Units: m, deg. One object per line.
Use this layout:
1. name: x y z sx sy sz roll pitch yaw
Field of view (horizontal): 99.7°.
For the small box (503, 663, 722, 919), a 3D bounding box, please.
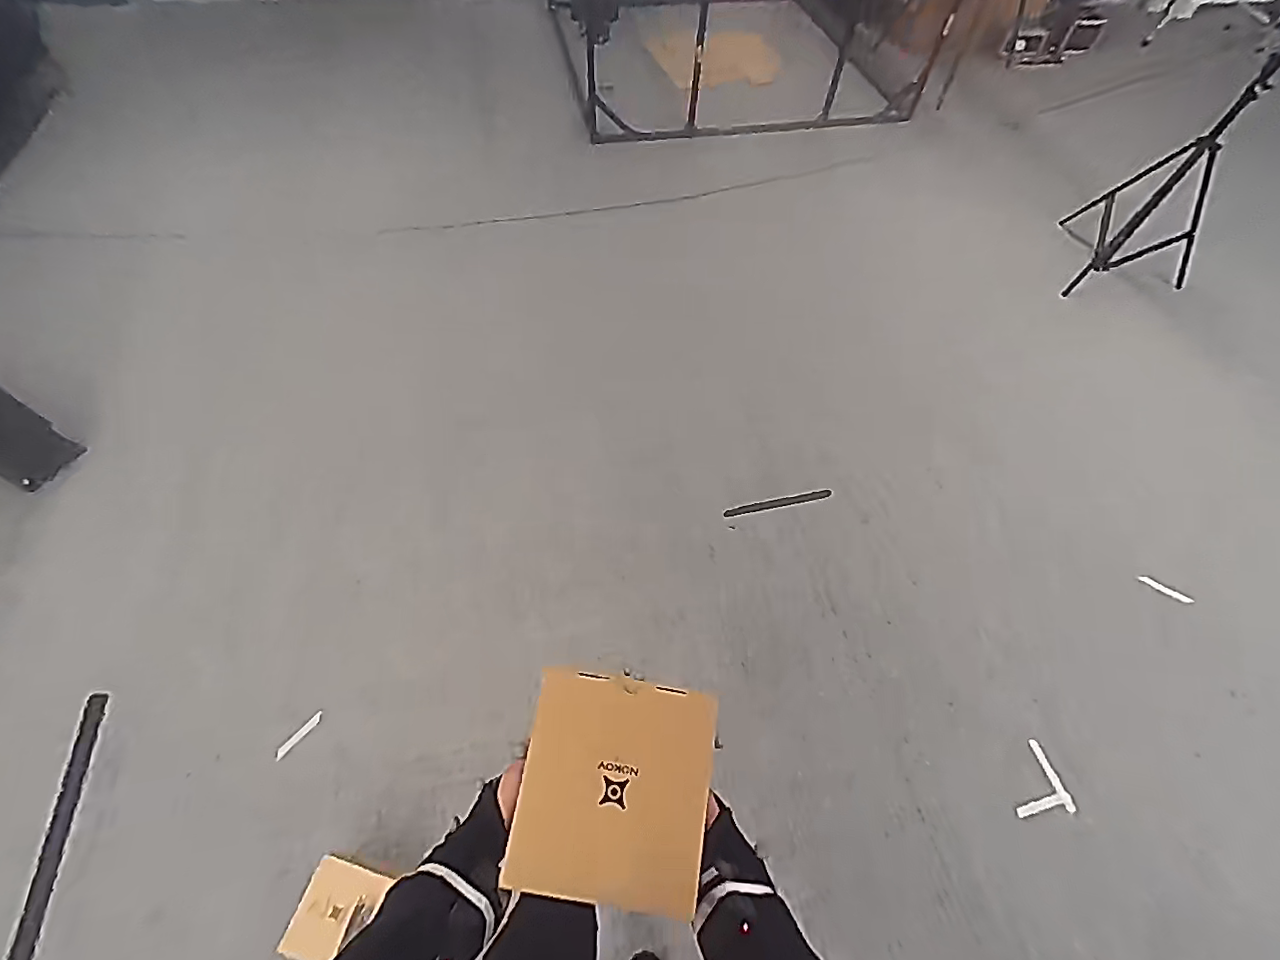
1. small box: -0.023 0.292 0.546 0.168 0.176 0.179 11 69 0
